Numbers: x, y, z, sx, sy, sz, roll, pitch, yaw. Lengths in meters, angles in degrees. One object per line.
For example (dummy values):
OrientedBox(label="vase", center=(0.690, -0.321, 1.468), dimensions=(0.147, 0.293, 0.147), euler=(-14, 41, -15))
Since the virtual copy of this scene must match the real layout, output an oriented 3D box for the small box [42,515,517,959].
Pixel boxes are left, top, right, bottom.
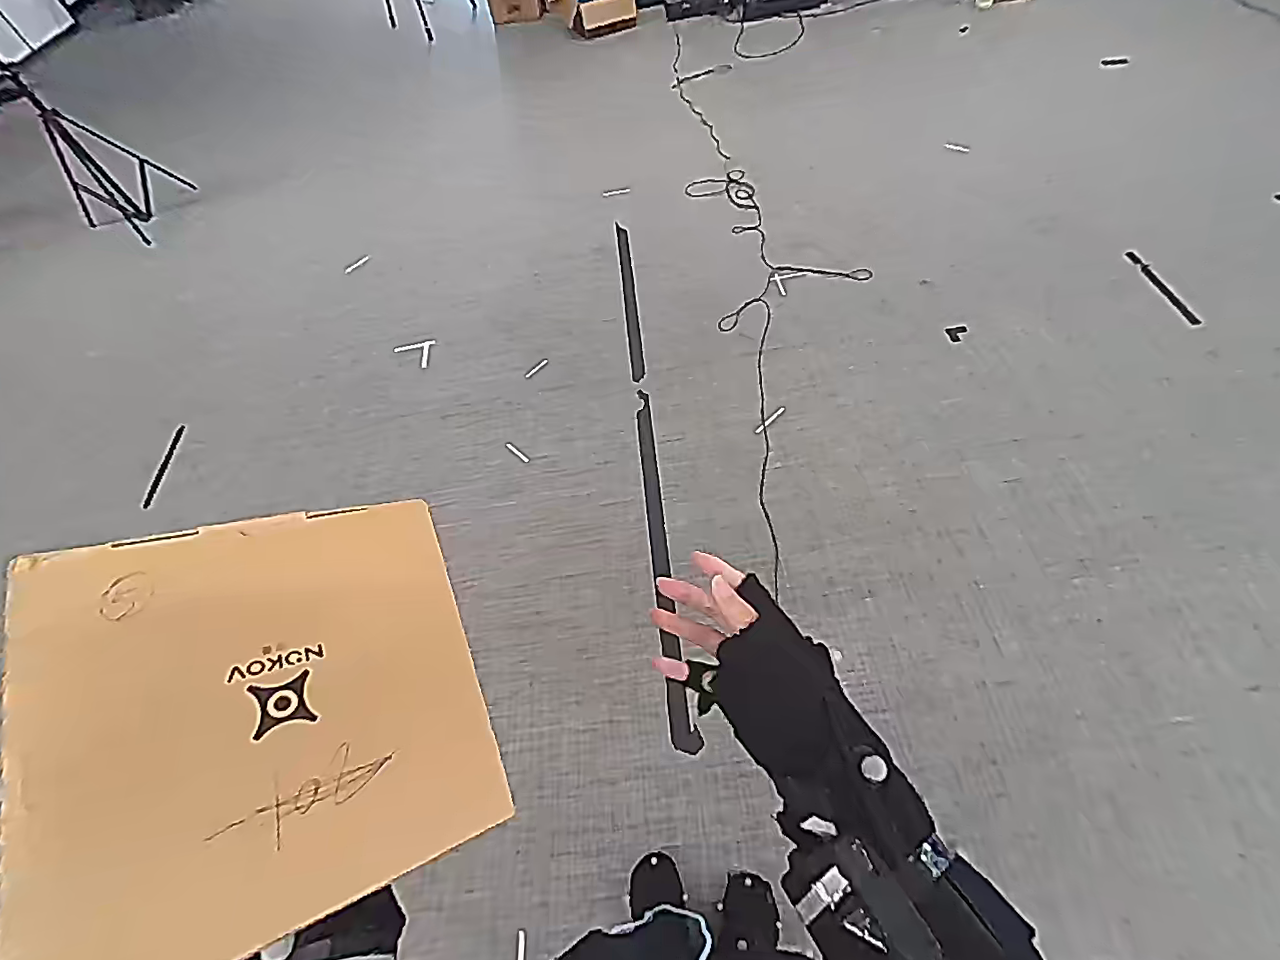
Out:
OrientedBox(label="small box", center=(-0.193, 0.144, 0.309), dimensions=(0.168, 0.176, 0.179), euler=(-9, 64, -35))
